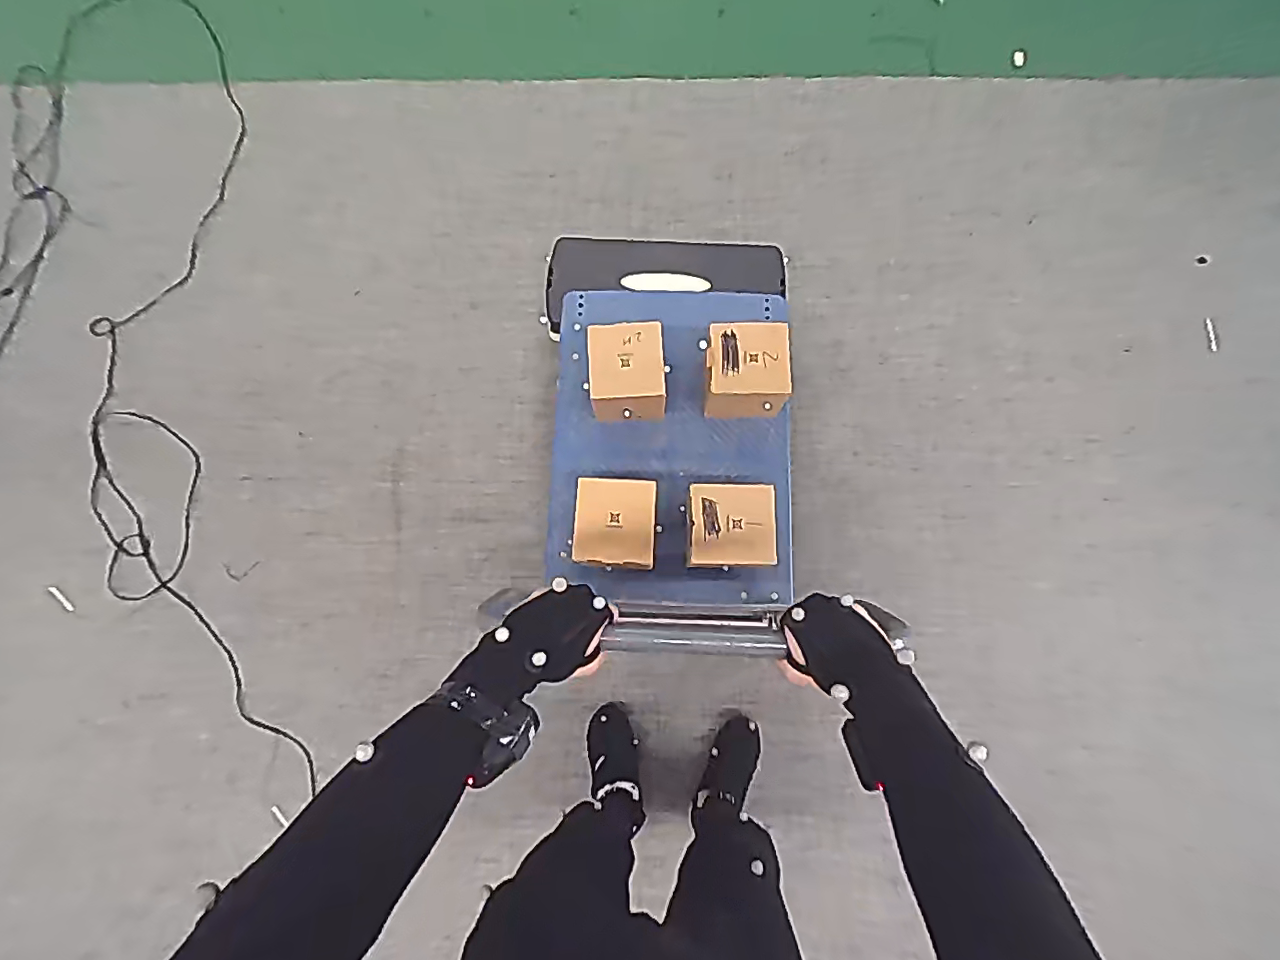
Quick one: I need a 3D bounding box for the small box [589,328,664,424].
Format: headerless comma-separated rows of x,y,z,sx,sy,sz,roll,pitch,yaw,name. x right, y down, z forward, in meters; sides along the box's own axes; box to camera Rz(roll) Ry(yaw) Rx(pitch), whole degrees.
-0.028,-0.235,1.262,0.168,0.176,0.179,-3,78,0,small box

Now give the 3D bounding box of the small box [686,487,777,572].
0.192,0.114,1.182,0.179,0.176,0.168,1,78,0,small box

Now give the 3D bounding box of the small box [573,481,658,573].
-0.051,0.109,1.189,0.168,0.176,0.179,3,78,0,small box
